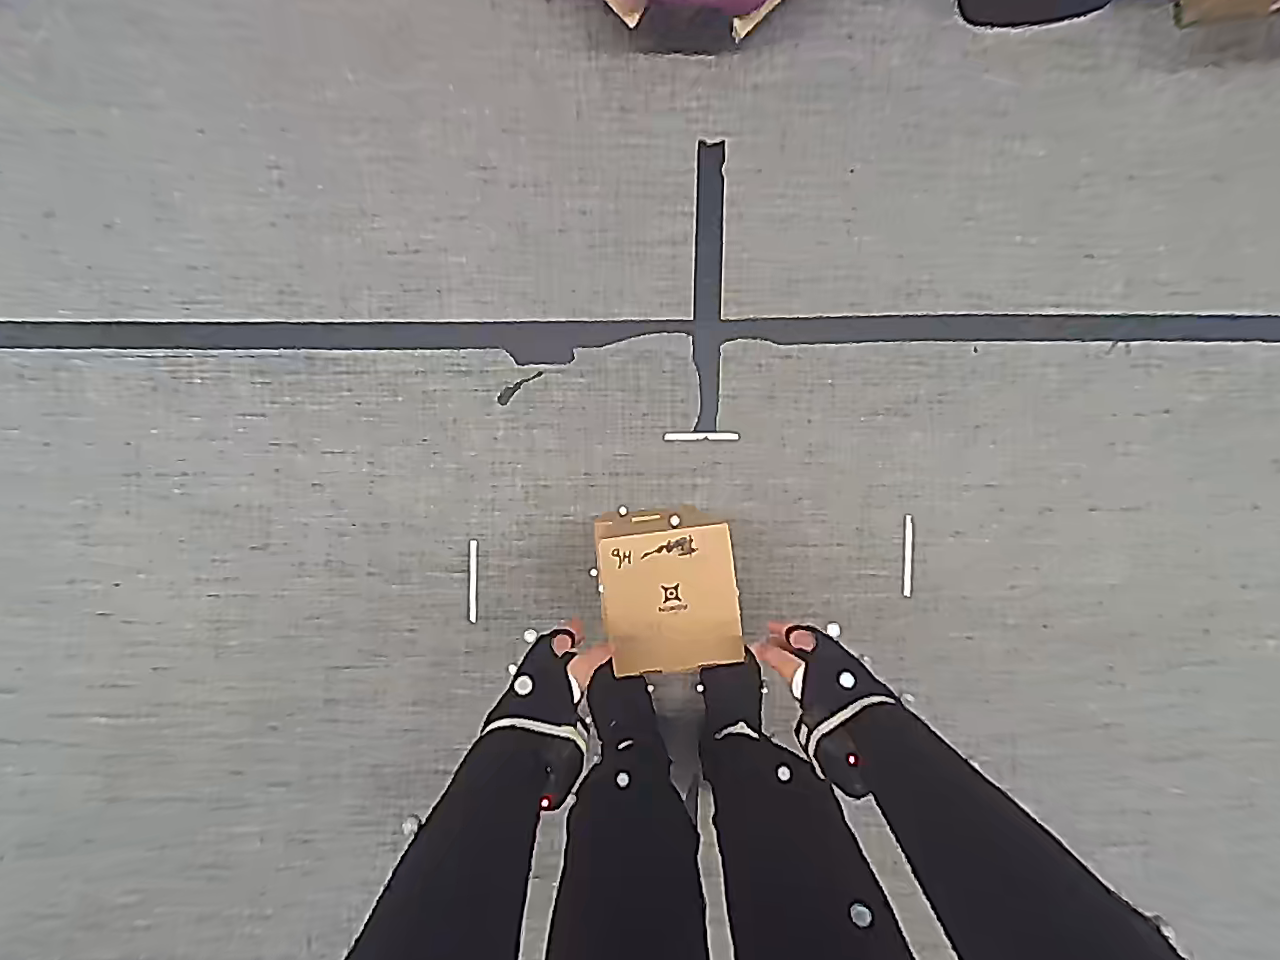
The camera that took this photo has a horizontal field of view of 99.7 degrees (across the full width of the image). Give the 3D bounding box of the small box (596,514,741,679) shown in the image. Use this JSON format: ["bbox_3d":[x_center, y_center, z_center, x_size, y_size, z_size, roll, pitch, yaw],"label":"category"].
[{"bbox_3d":[0.036,0.149,0.743,0.168,0.176,0.179,-7,92,0],"label":"small box"}]

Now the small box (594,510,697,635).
[{"bbox_3d":[0.016,0.145,0.906,0.168,0.176,0.179,-6,93,0],"label":"small box"}]
